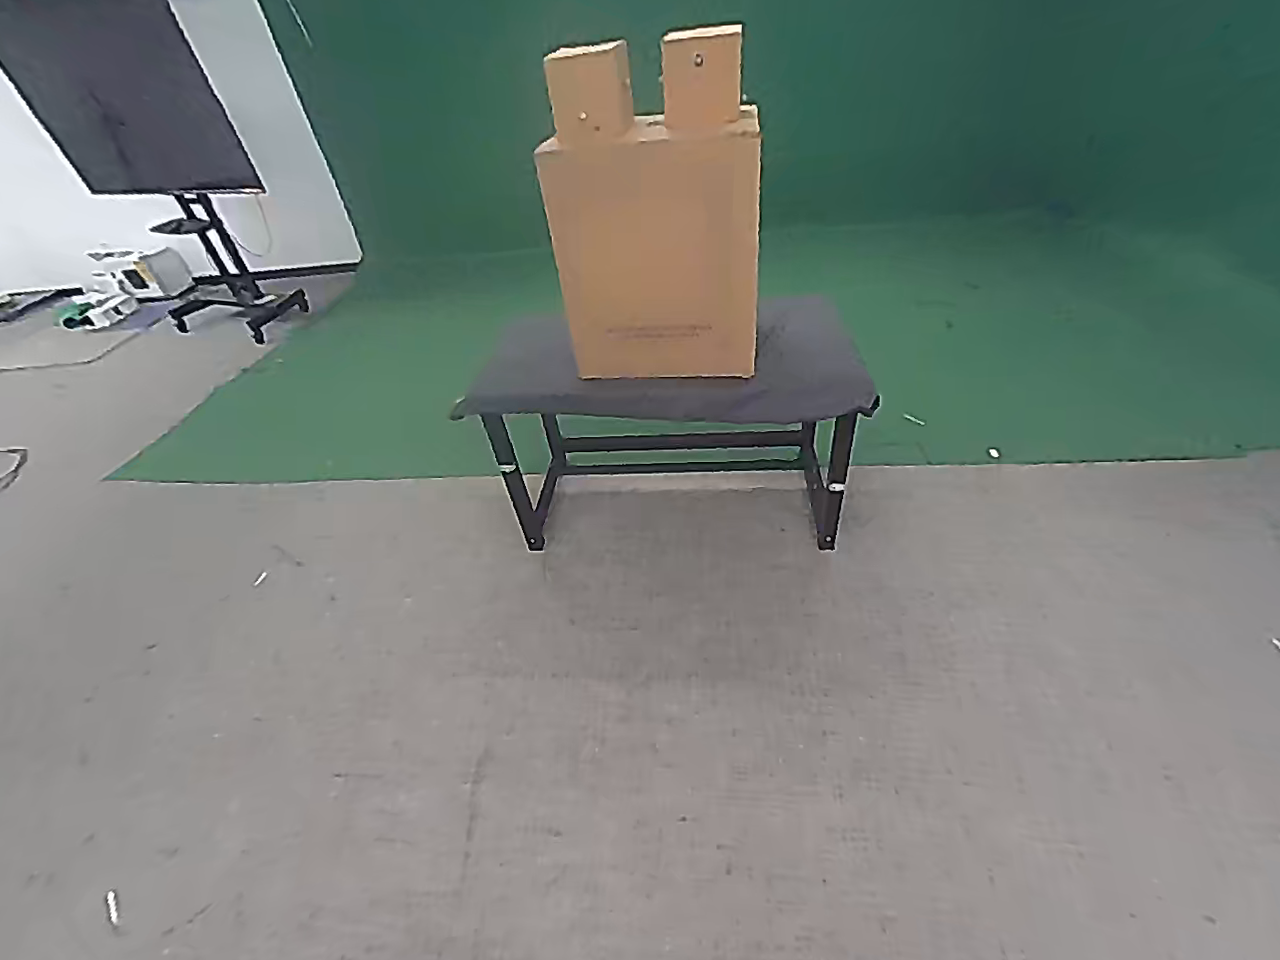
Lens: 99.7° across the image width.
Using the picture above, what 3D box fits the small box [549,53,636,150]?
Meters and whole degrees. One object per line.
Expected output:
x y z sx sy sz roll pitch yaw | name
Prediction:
-0.107 -0.926 1.326 0.168 0.176 0.179 1 43 11 | small box

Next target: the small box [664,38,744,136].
0.157 -0.940 1.298 0.179 0.176 0.168 2 44 9 | small box
